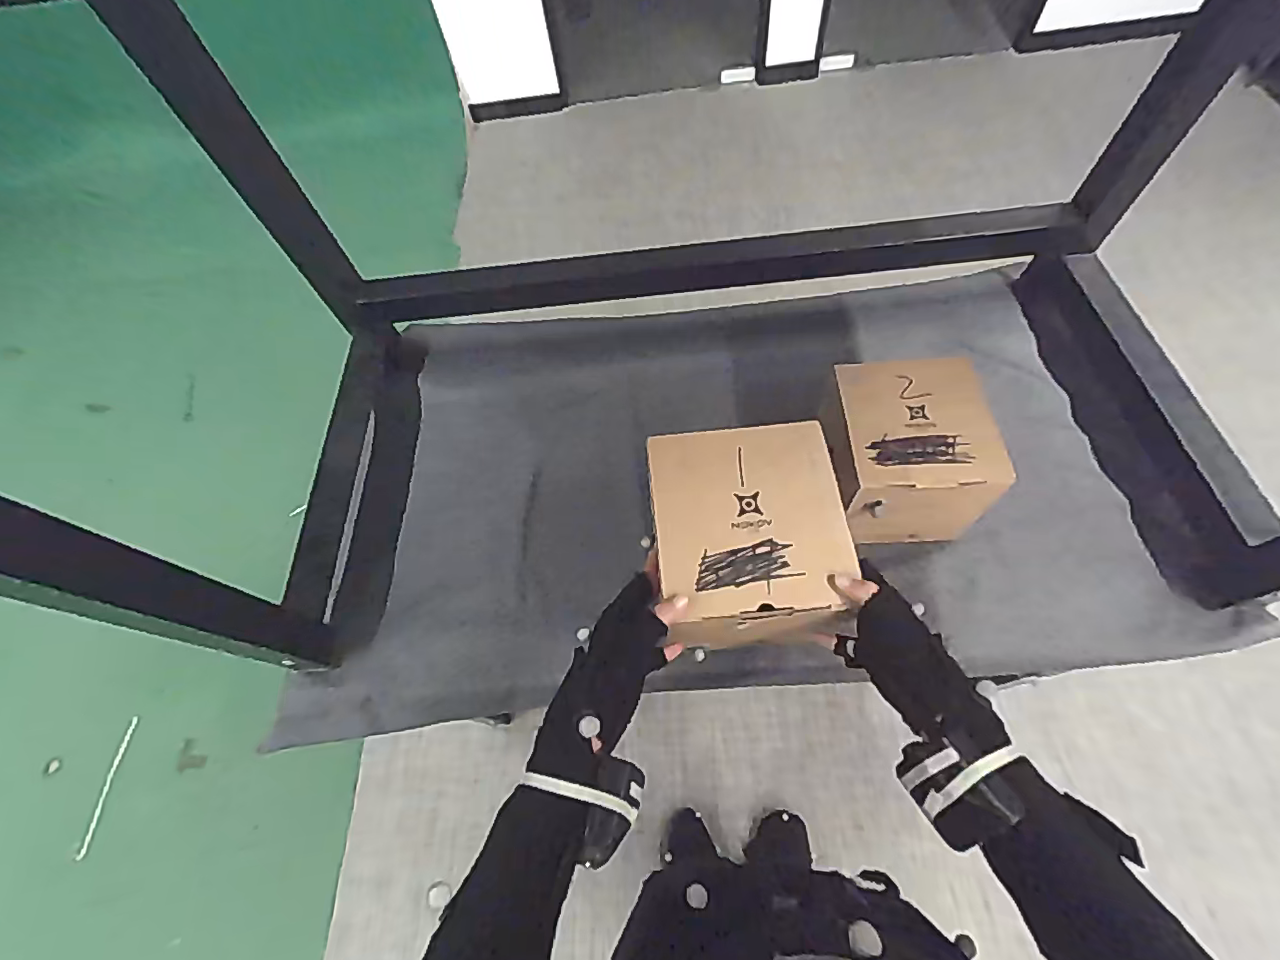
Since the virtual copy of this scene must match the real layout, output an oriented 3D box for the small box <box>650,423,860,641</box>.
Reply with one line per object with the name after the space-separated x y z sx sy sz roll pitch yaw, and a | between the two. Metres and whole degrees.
0.103 0.064 0.558 0.168 0.176 0.179 -6 64 1 | small box
